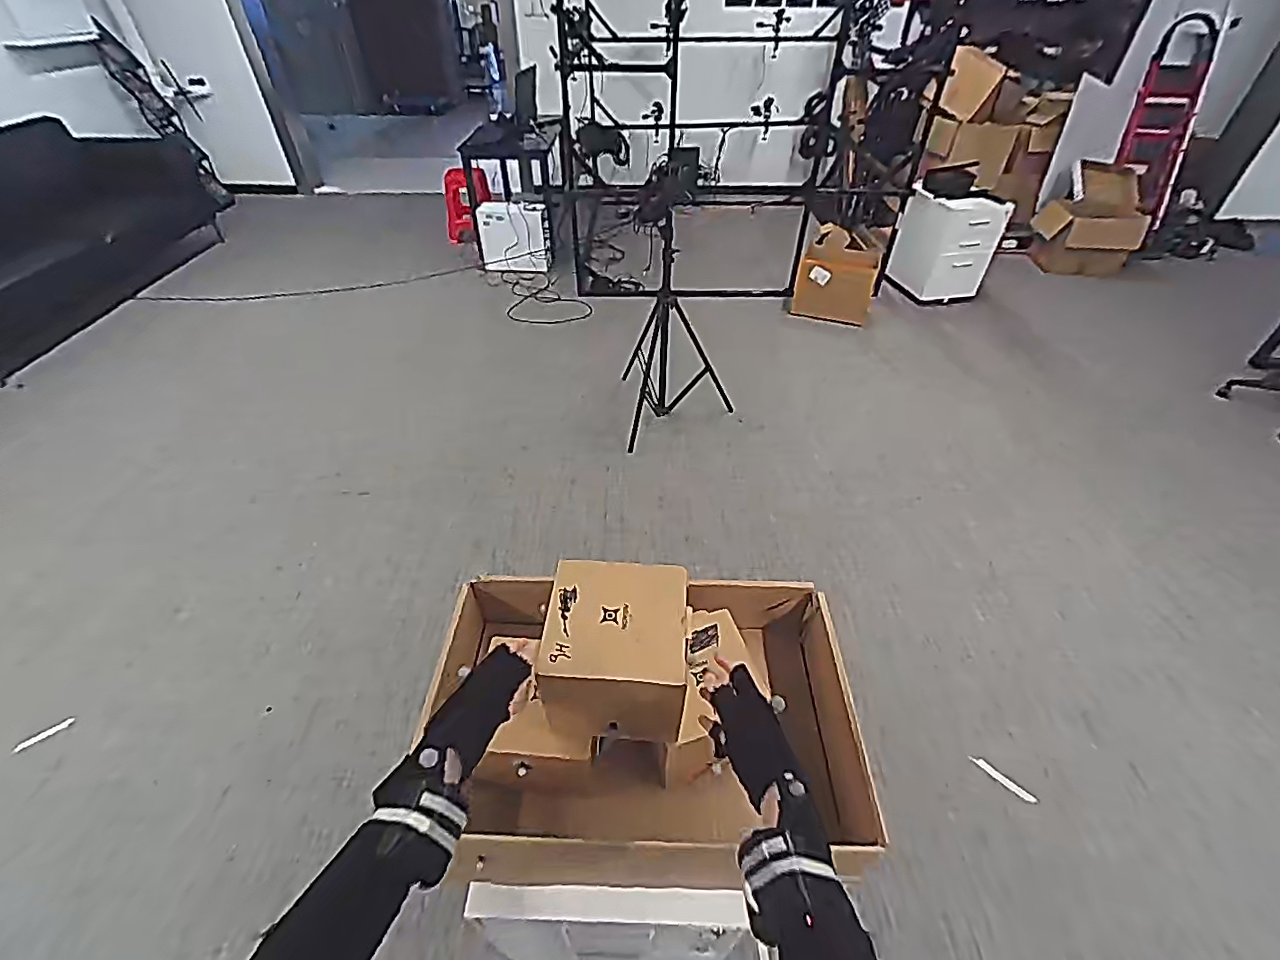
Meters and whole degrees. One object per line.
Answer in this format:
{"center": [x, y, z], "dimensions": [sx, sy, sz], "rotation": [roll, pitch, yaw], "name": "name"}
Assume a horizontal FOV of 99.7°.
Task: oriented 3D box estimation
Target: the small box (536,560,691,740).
{"center": [-0.028, 0.228, 0.720], "dimensions": [0.179, 0.176, 0.168], "rotation": [4, 43, 2], "name": "small box"}
